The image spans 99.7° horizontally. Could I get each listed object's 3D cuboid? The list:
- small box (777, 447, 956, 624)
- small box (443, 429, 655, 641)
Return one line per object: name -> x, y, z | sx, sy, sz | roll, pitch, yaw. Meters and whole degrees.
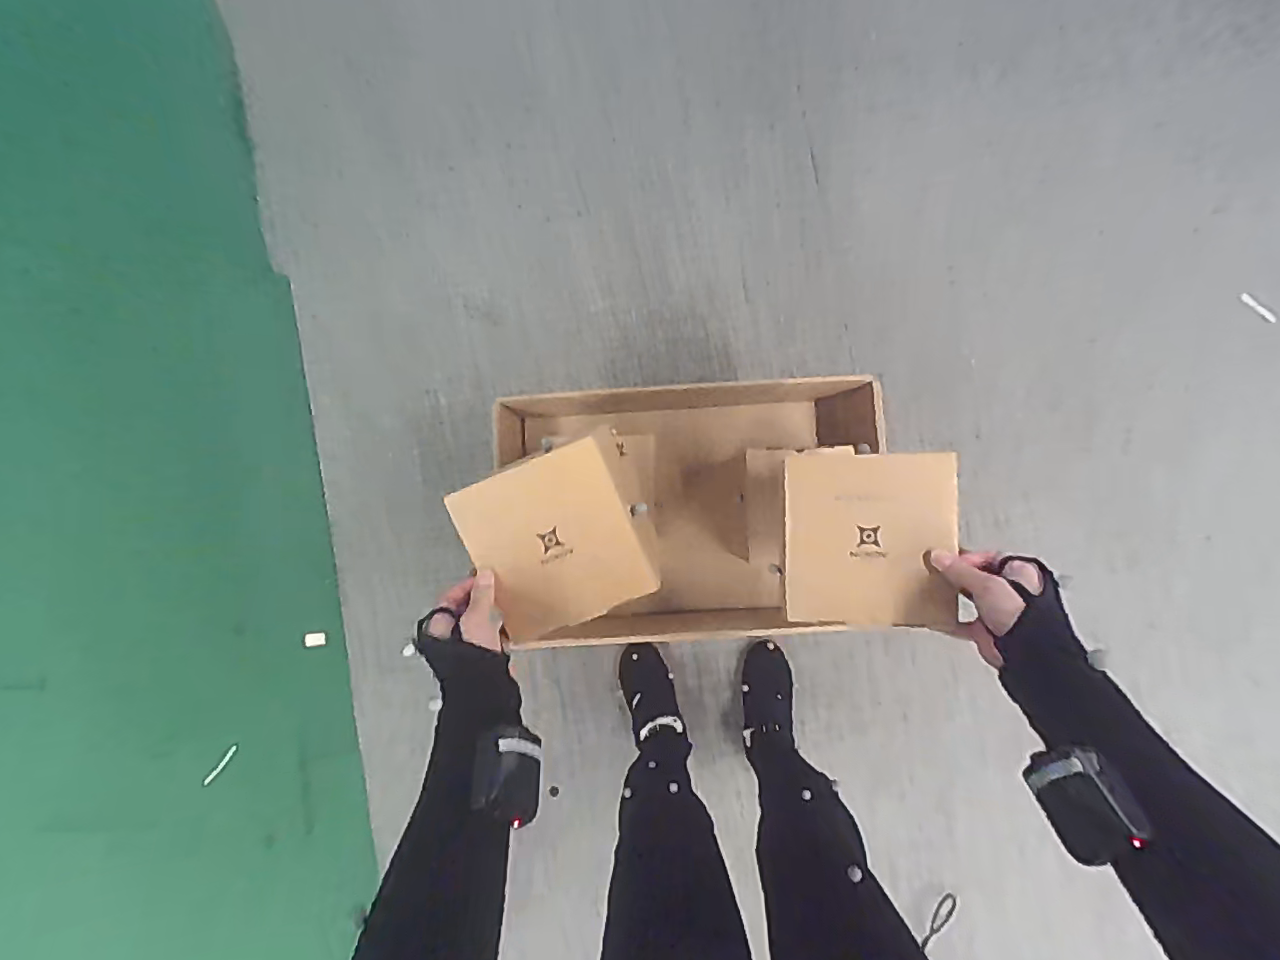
small box -> 0.246, 0.054, 0.621 | 0.168, 0.176, 0.179 | 0, 90, 13
small box -> -0.092, 0.048, 0.628 | 0.168, 0.176, 0.179 | -24, 100, 5
